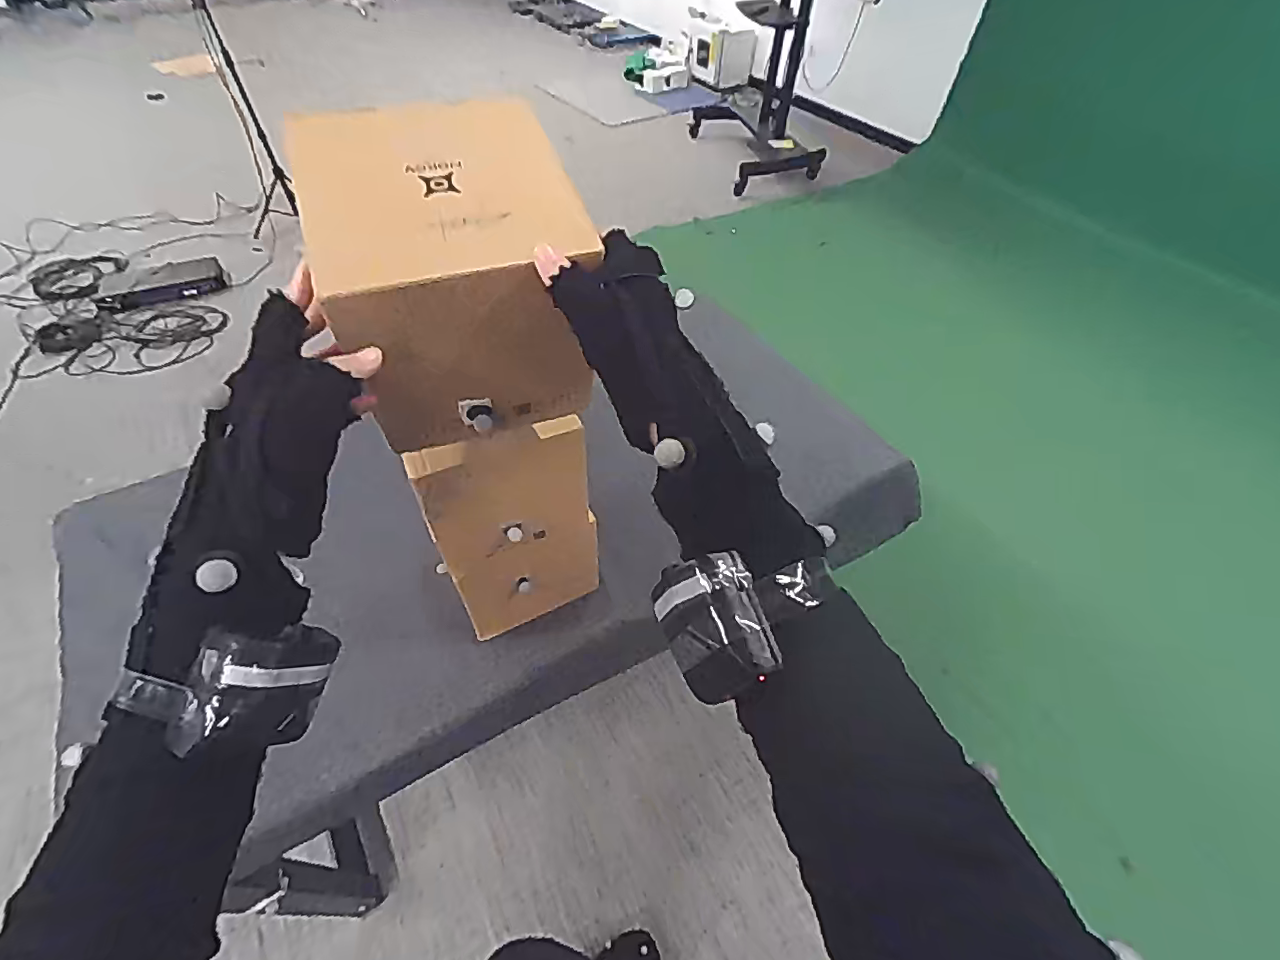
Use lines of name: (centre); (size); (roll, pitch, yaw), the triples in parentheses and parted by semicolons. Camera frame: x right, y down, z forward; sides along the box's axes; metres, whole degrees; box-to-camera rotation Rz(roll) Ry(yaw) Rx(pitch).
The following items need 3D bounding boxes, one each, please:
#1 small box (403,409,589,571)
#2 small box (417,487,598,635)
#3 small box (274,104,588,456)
small box: (-0.167, -0.033, 0.601); (0.168, 0.176, 0.179); (-22, 52, -19)
small box: (-0.168, 0.077, 0.724); (0.179, 0.176, 0.168); (-23, 54, -18)
small box: (-0.146, -0.147, 0.412); (0.168, 0.176, 0.179); (-17, 63, -15)
